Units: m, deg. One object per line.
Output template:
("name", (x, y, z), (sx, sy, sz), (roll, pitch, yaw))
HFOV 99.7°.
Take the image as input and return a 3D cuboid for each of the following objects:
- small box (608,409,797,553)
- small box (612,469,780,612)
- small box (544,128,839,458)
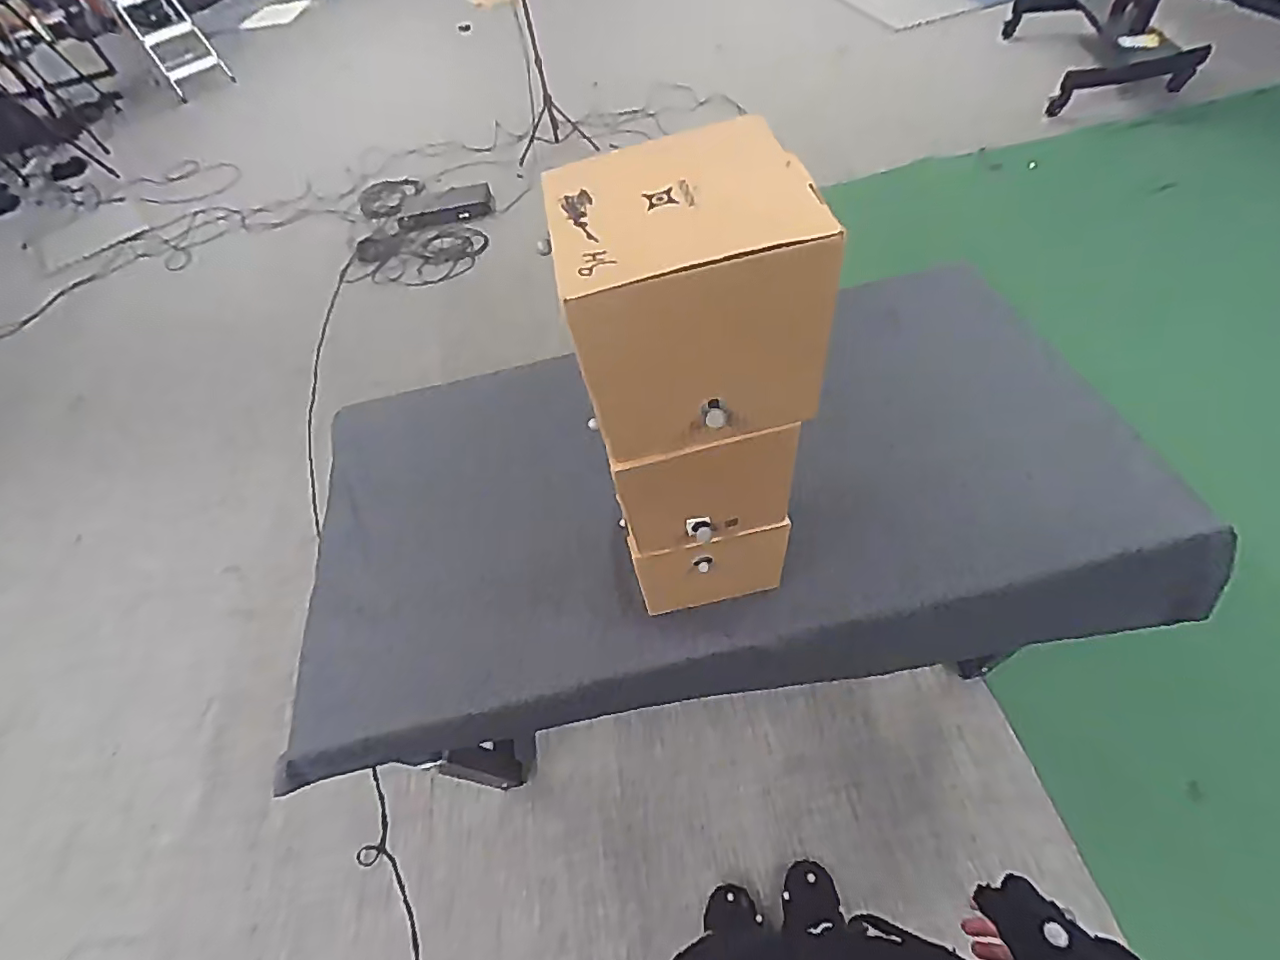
("small box", (0.048, -0.049, 0.570), (0.168, 0.176, 0.179), (-15, 56, 0))
("small box", (0.070, 0.057, 0.711), (0.179, 0.176, 0.168), (-12, 55, -1))
("small box", (0.033, -0.142, 0.435), (0.179, 0.176, 0.168), (-13, 54, 1))
